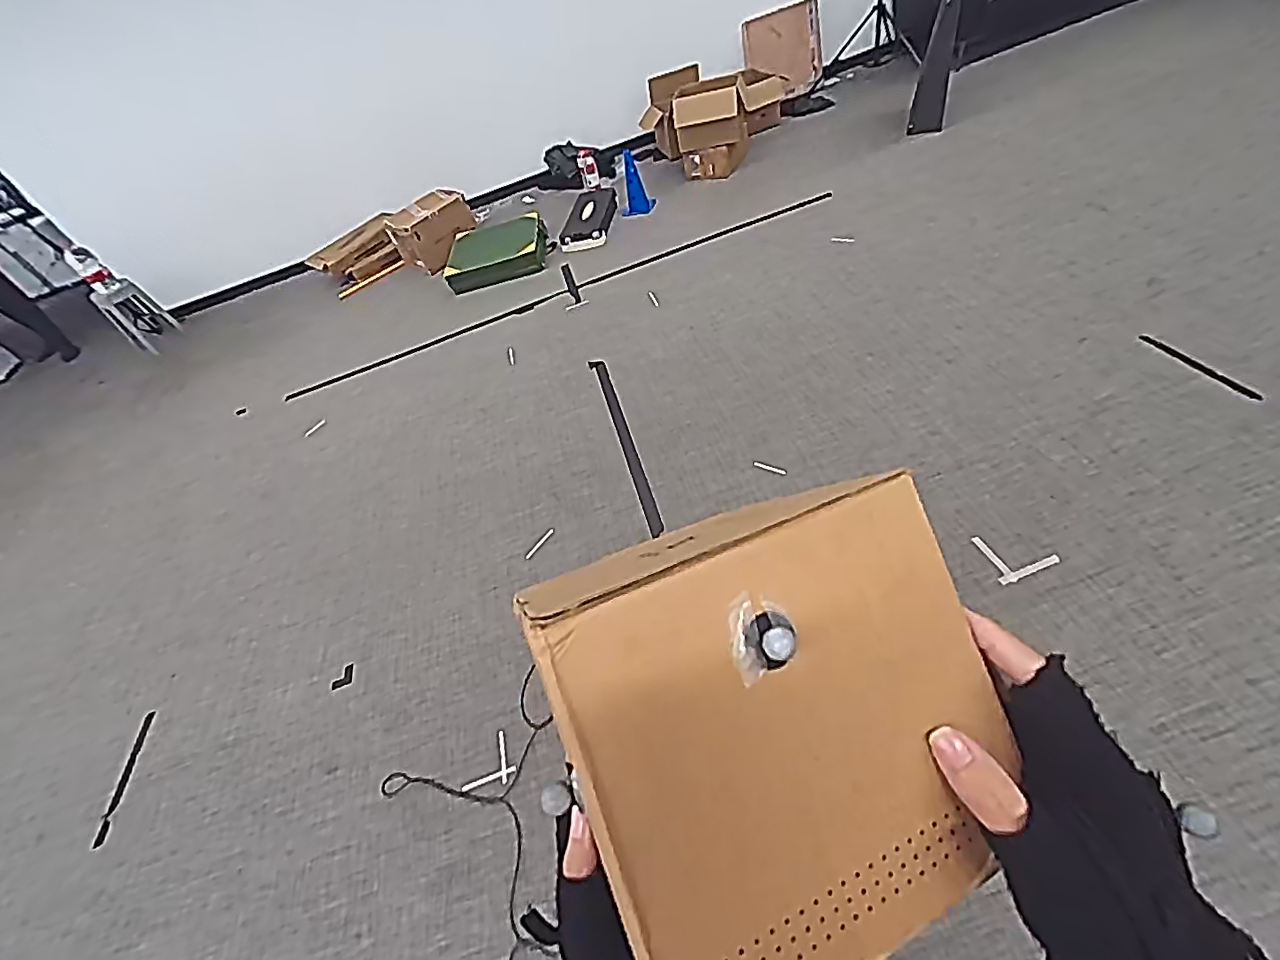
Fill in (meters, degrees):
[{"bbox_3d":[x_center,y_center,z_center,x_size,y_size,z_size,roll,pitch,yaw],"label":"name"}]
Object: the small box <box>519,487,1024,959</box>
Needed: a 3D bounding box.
[{"bbox_3d":[0.049,0.119,0.283,0.179,0.168,0.176,-19,87,-16],"label":"small box"}]
